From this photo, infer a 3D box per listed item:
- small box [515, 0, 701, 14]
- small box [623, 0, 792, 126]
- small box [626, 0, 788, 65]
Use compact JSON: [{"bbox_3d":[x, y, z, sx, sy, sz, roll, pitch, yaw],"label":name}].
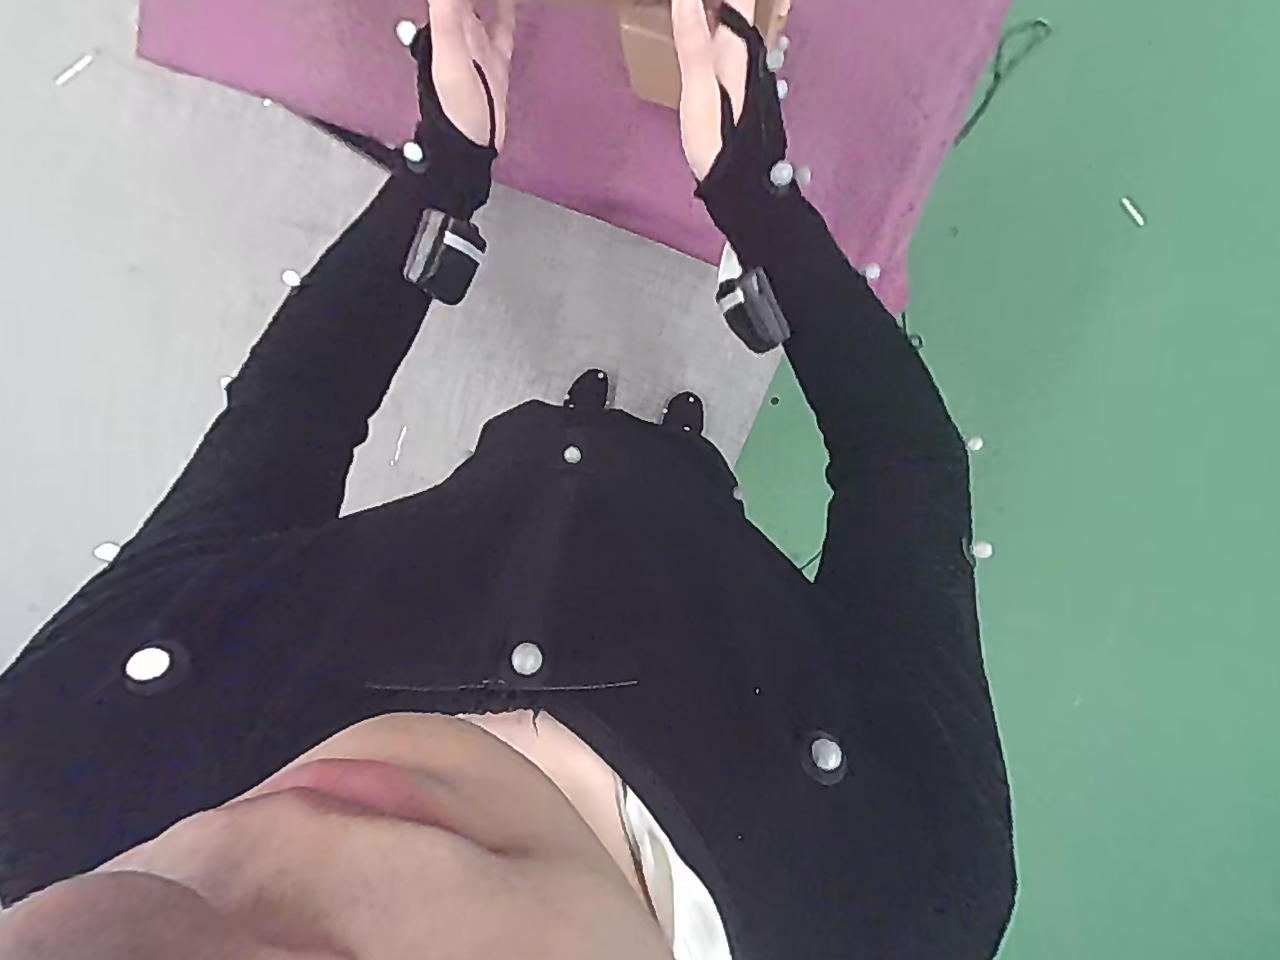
[{"bbox_3d":[-0.034,-0.438,0.353,0.179,0.176,0.168,7,115,6],"label":"small box"},{"bbox_3d":[0.094,-0.592,0.695,0.179,0.176,0.168,20,103,2],"label":"small box"},{"bbox_3d":[0.079,-0.560,0.535,0.179,0.176,0.168,21,104,2],"label":"small box"}]
